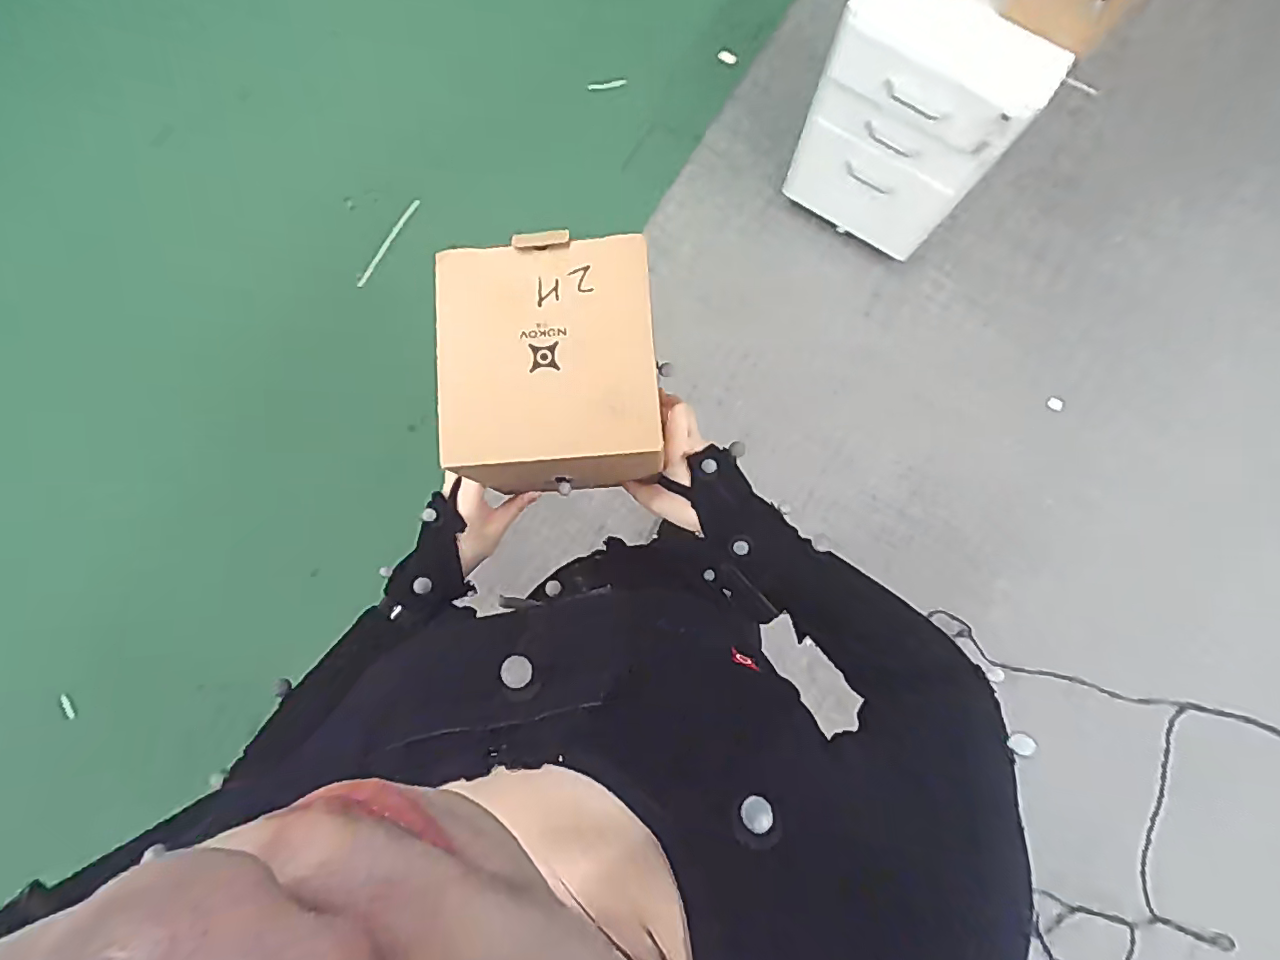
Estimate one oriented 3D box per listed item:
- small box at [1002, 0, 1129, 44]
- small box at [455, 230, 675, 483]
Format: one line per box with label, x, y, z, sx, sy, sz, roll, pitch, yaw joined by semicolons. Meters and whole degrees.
small box;0.756;-0.877;0.889;0.179;0.176;0.168;32;86;7
small box;-0.055;-0.092;0.486;0.168;0.176;0.179;-3;82;1
